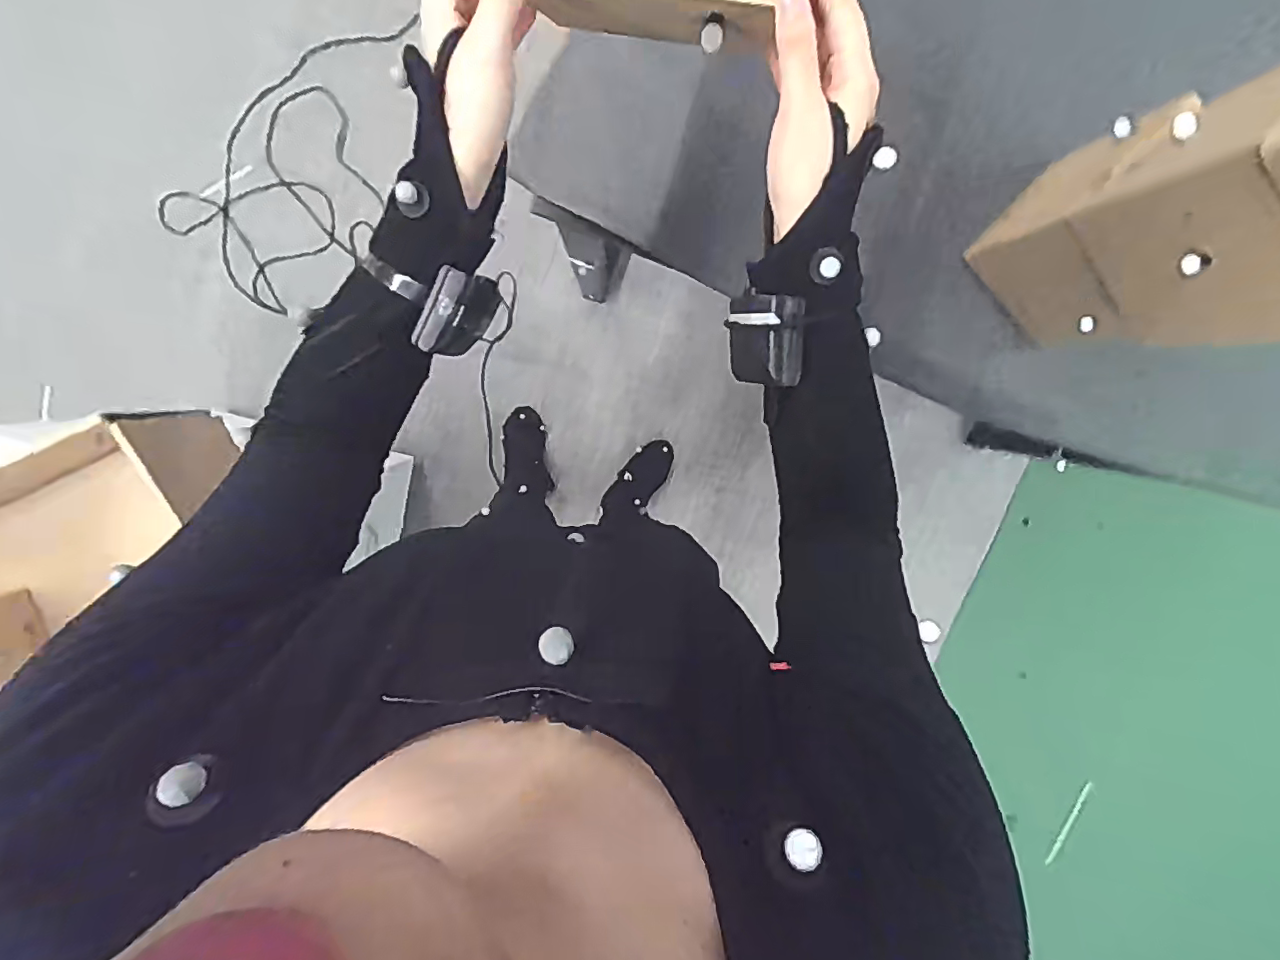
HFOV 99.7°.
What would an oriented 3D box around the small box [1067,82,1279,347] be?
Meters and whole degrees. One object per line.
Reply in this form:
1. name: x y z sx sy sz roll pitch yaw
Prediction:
1. small box: 0.546 -0.234 0.477 0.168 0.176 0.179 -39 99 3
